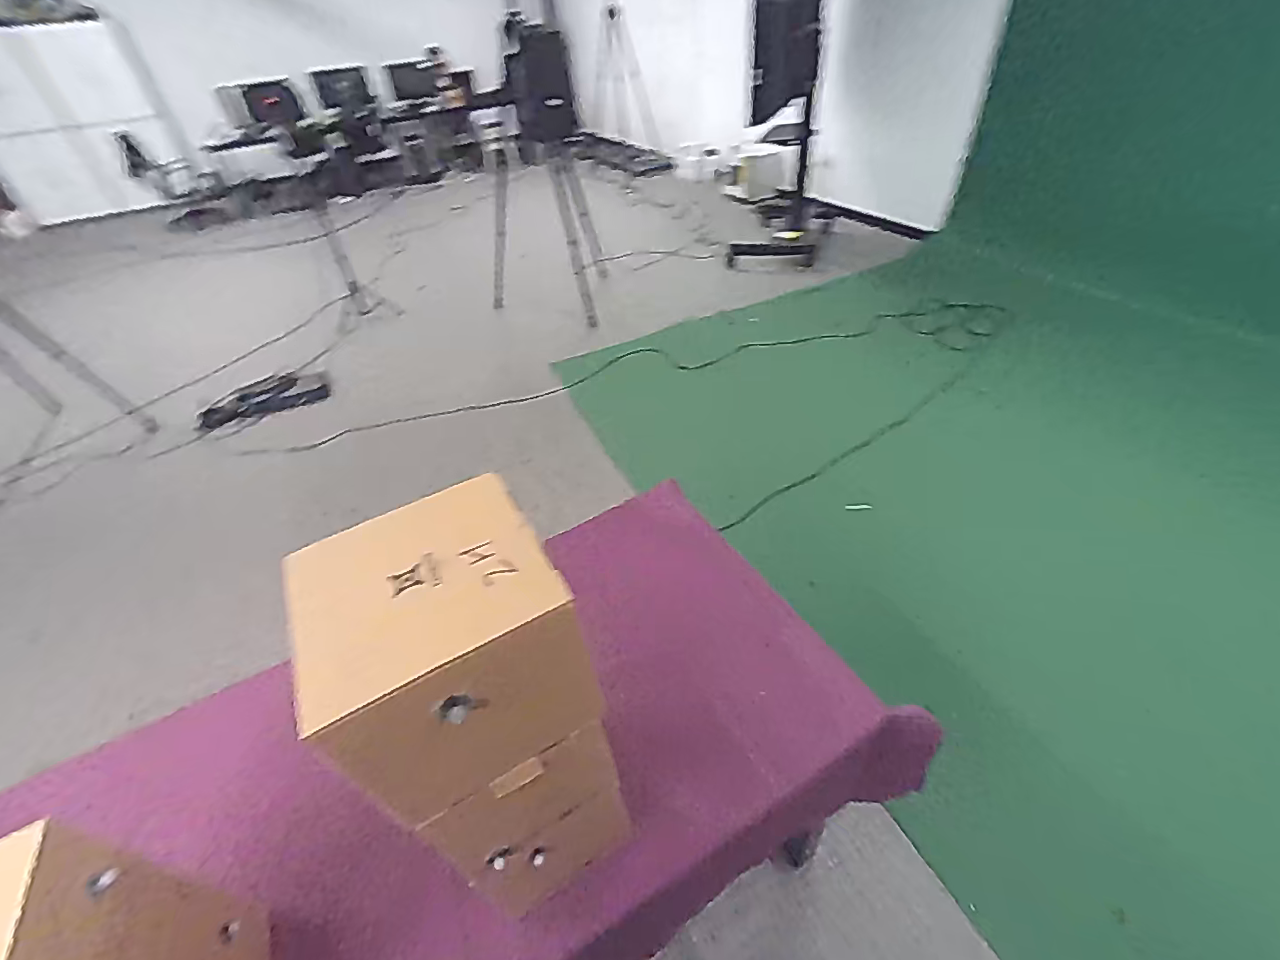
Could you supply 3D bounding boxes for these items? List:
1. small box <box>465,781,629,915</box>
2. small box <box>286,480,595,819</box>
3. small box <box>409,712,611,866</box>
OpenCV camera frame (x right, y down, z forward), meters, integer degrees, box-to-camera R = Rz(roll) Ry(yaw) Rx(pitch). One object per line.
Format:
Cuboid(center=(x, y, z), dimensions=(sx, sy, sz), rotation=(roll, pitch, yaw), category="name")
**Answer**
Cuboid(center=(-0.130, 0.382, 0.666), dimensions=(0.168, 0.176, 0.179), rotation=(-26, 44, -18), category="small box")
Cuboid(center=(-0.155, 0.136, 0.447), dimensions=(0.179, 0.176, 0.168), rotation=(-24, 45, -19), category="small box")
Cuboid(center=(-0.144, 0.258, 0.558), dimensions=(0.168, 0.176, 0.179), rotation=(-25, 44, -20), category="small box")
